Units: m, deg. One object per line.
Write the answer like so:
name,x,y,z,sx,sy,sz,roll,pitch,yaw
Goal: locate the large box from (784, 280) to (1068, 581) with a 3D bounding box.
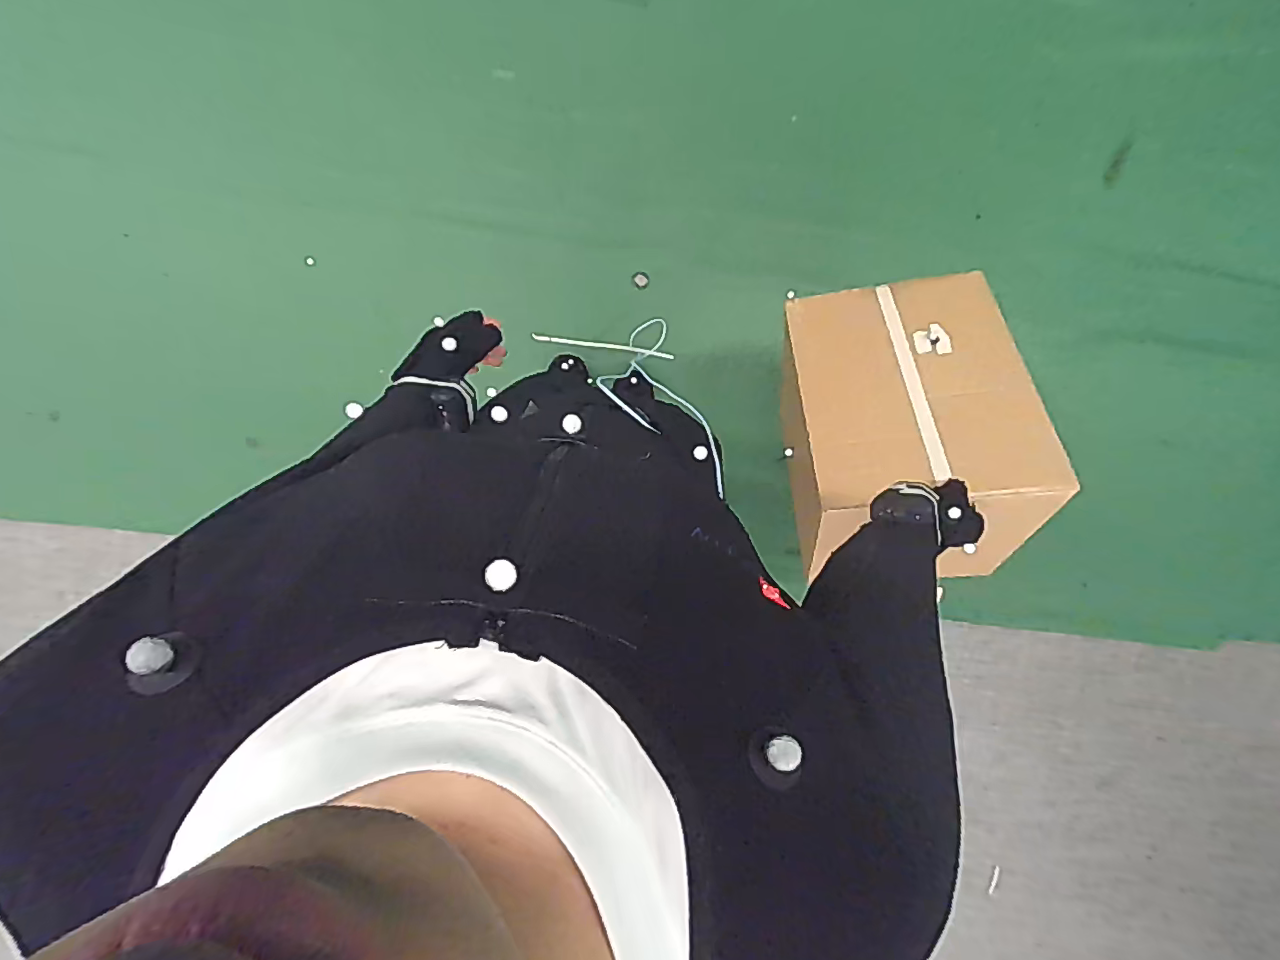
large box,0.434,-0.071,0.943,0.320,0.320,0.408,-5,59,10
